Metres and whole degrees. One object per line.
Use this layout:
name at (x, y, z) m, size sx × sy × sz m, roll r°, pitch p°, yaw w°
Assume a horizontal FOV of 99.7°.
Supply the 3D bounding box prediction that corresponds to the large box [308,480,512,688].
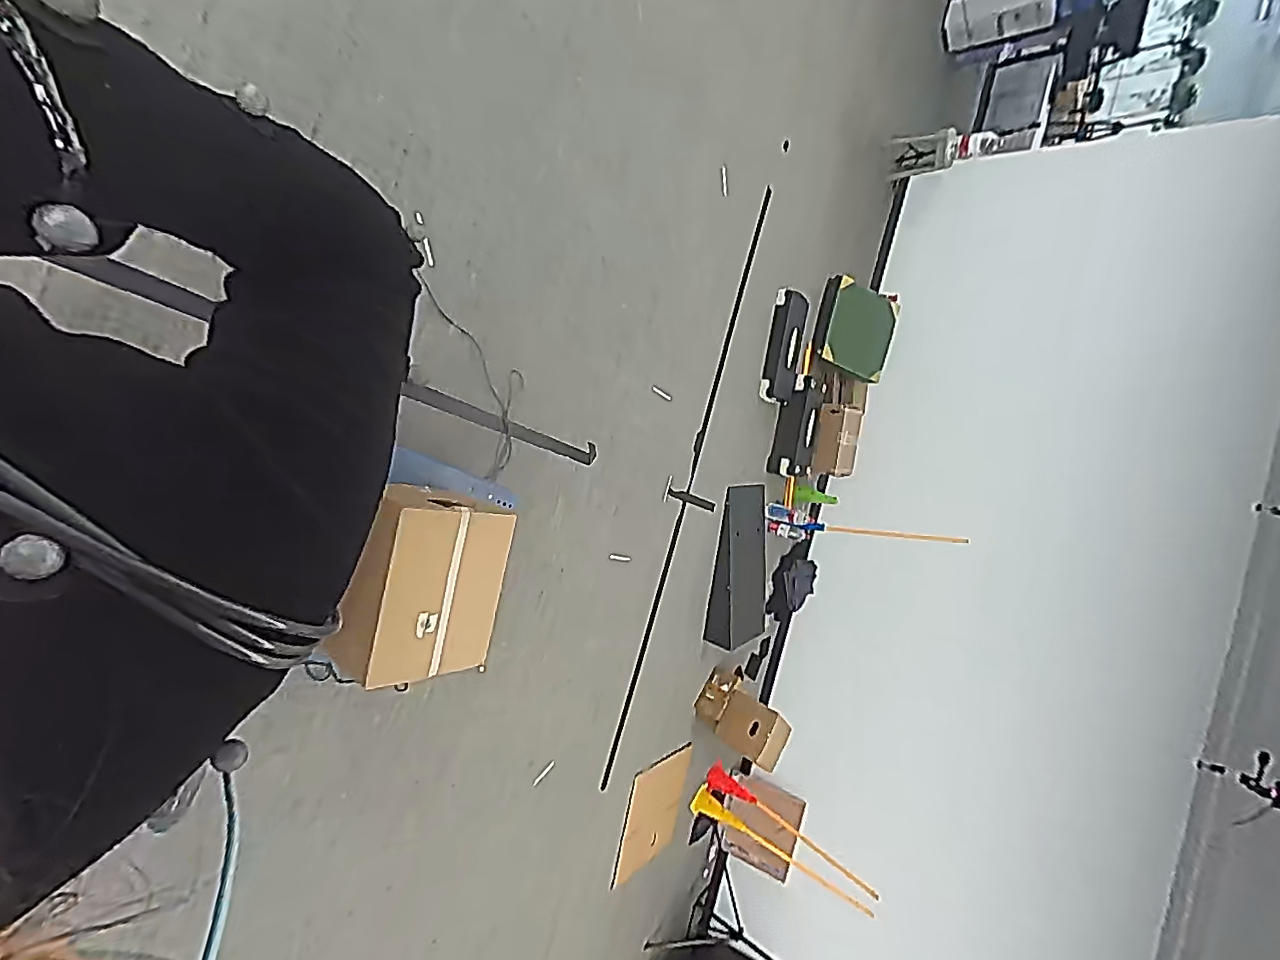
large box at (-0.568, 0.231, 1.340) m, size 0.320 × 0.320 × 0.408 m, roll 10°, pitch 94°, yaw -52°
